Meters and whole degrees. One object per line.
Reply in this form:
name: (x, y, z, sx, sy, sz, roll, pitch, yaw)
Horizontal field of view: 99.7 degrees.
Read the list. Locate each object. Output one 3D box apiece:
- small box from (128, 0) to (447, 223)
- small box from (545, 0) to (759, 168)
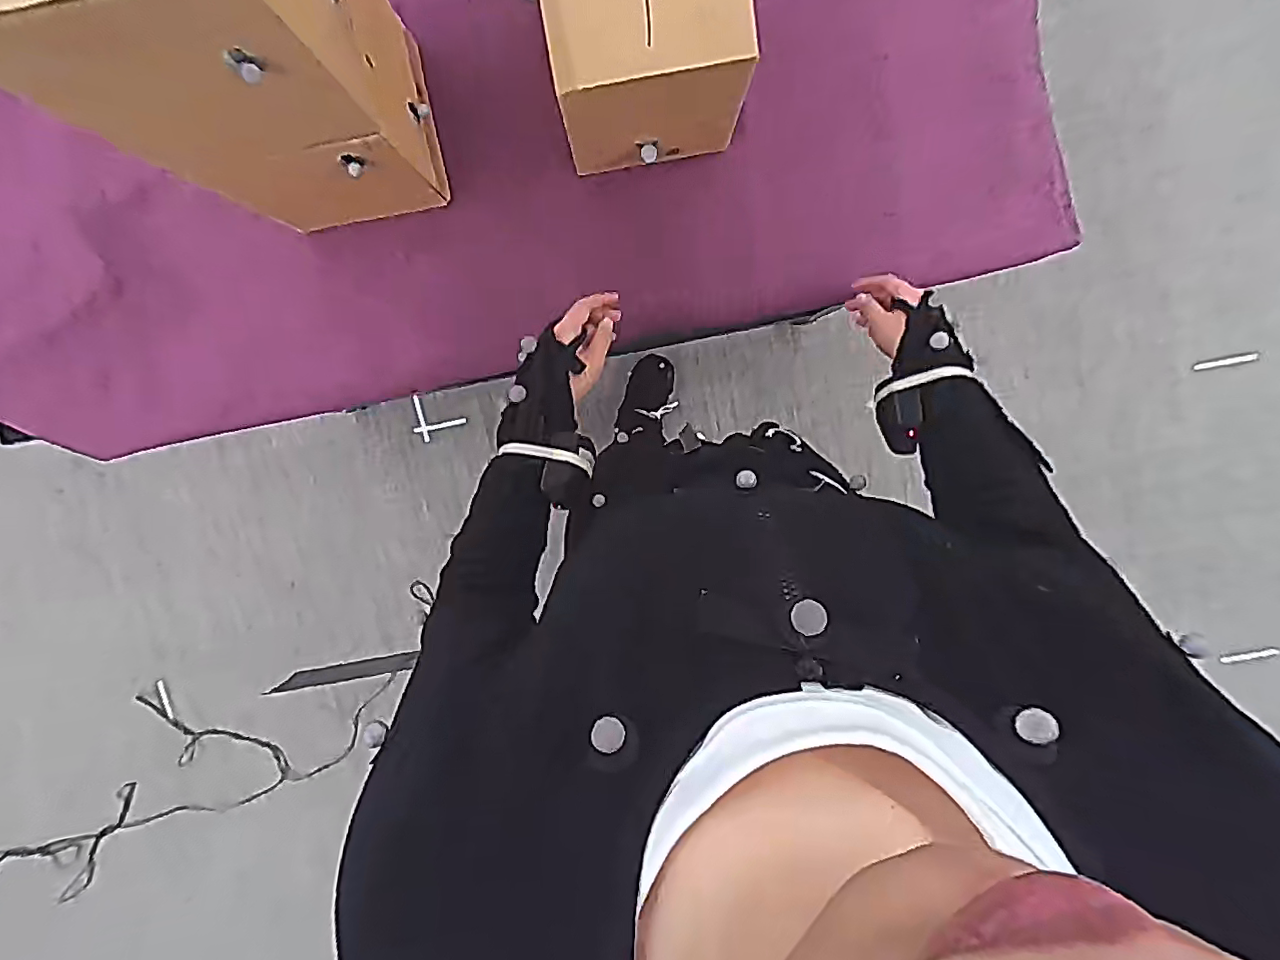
small box: (-0.307, -0.361, 0.503, 0.179, 0.176, 0.168, -11, 99, 1)
small box: (0.001, -0.421, 0.494, 0.168, 0.176, 0.179, -9, 99, 1)
